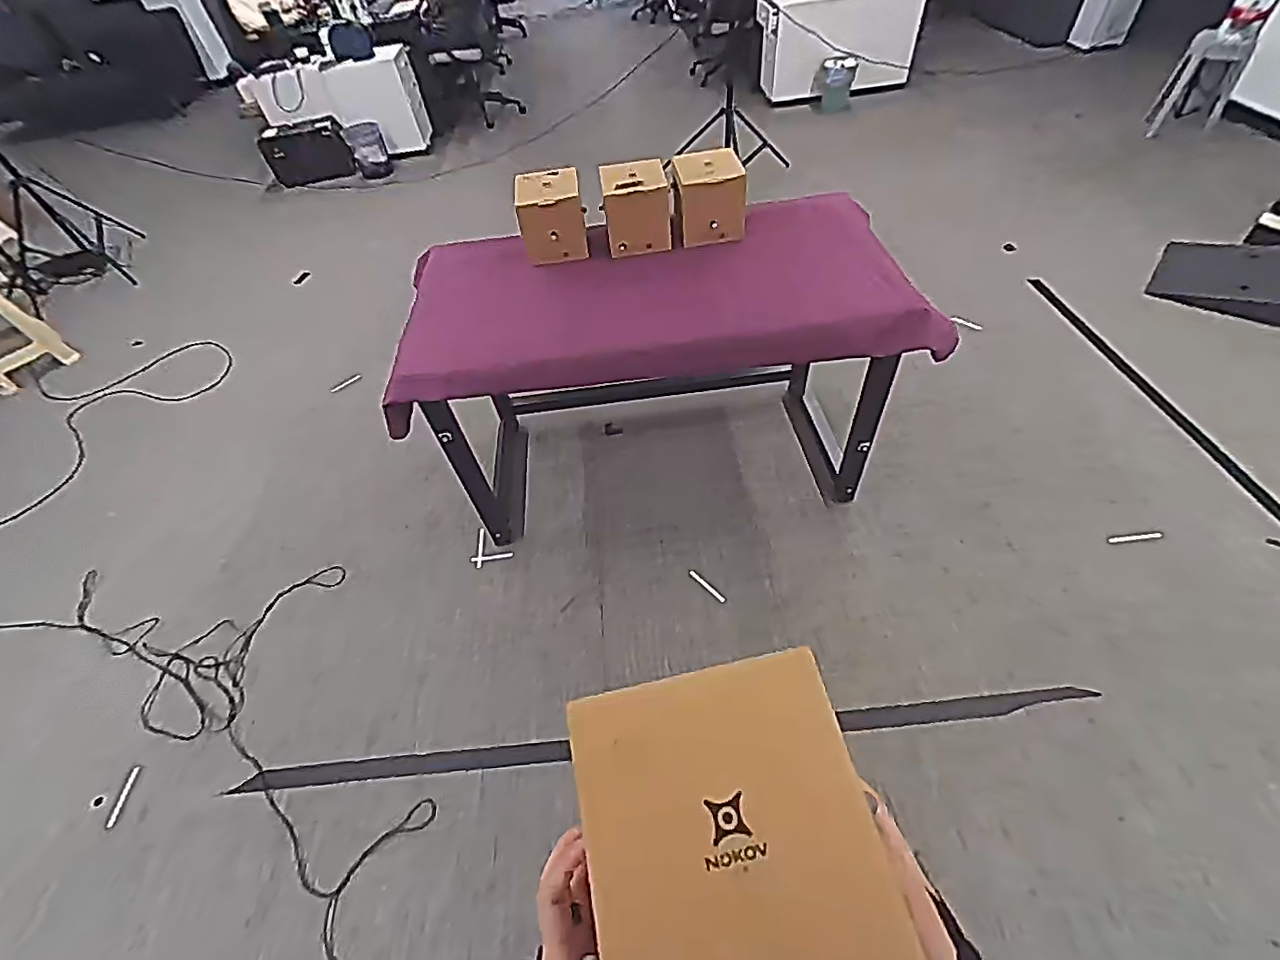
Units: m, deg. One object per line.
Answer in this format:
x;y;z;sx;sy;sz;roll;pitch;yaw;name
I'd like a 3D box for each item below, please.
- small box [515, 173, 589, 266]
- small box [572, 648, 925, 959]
-0.235;-0.697;1.464;0.168;0.176;0.179;-8;53;0;small box
0.051;0.240;0.378;0.168;0.176;0.179;-11;60;-6;small box
